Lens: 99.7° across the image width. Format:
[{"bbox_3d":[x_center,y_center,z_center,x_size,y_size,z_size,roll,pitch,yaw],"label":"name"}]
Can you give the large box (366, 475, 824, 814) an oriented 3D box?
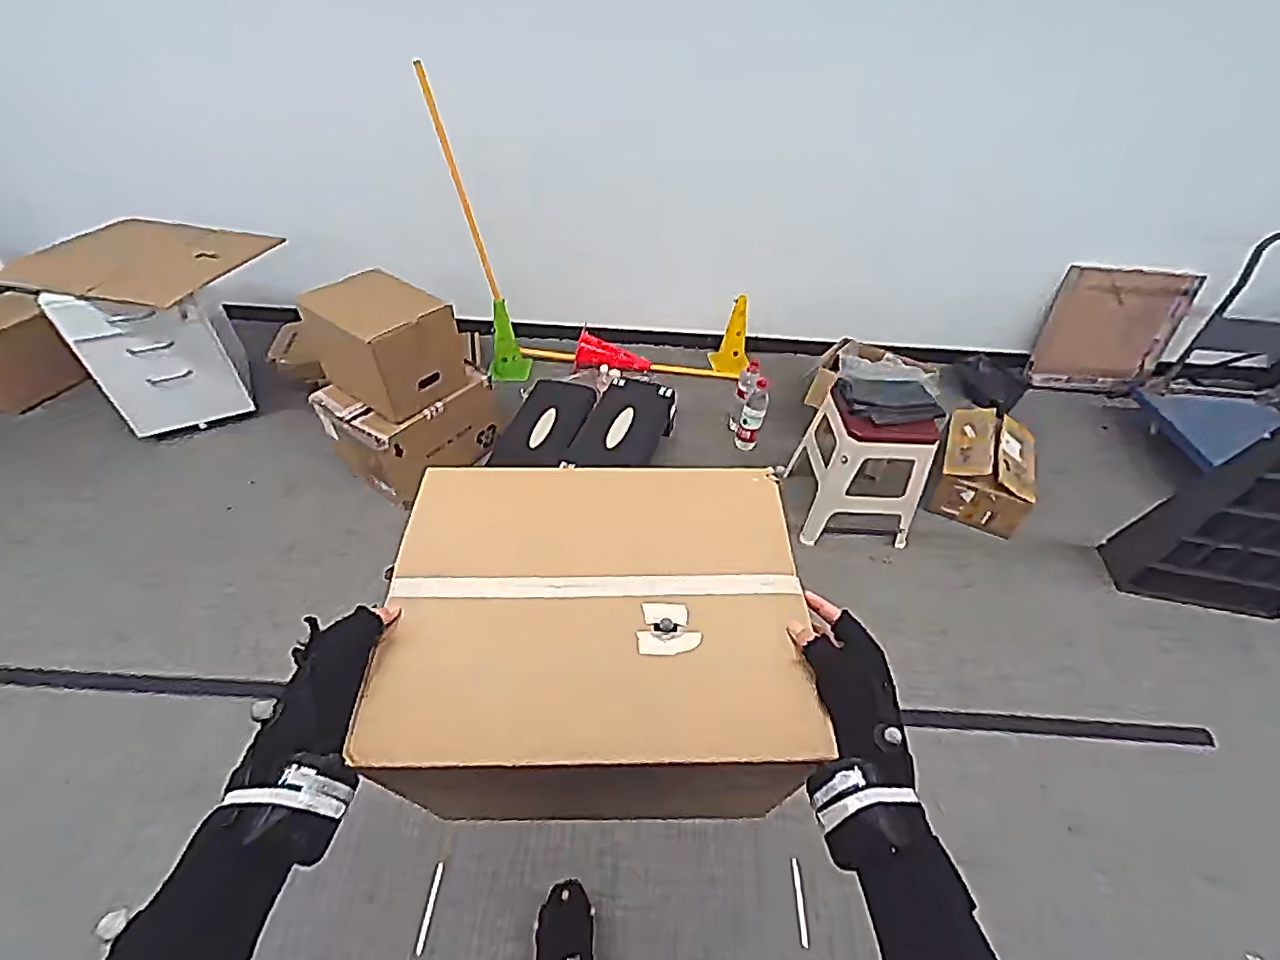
[{"bbox_3d":[-0.045,0.207,0.670,0.408,0.320,0.320,1,51,-2],"label":"large box"}]
